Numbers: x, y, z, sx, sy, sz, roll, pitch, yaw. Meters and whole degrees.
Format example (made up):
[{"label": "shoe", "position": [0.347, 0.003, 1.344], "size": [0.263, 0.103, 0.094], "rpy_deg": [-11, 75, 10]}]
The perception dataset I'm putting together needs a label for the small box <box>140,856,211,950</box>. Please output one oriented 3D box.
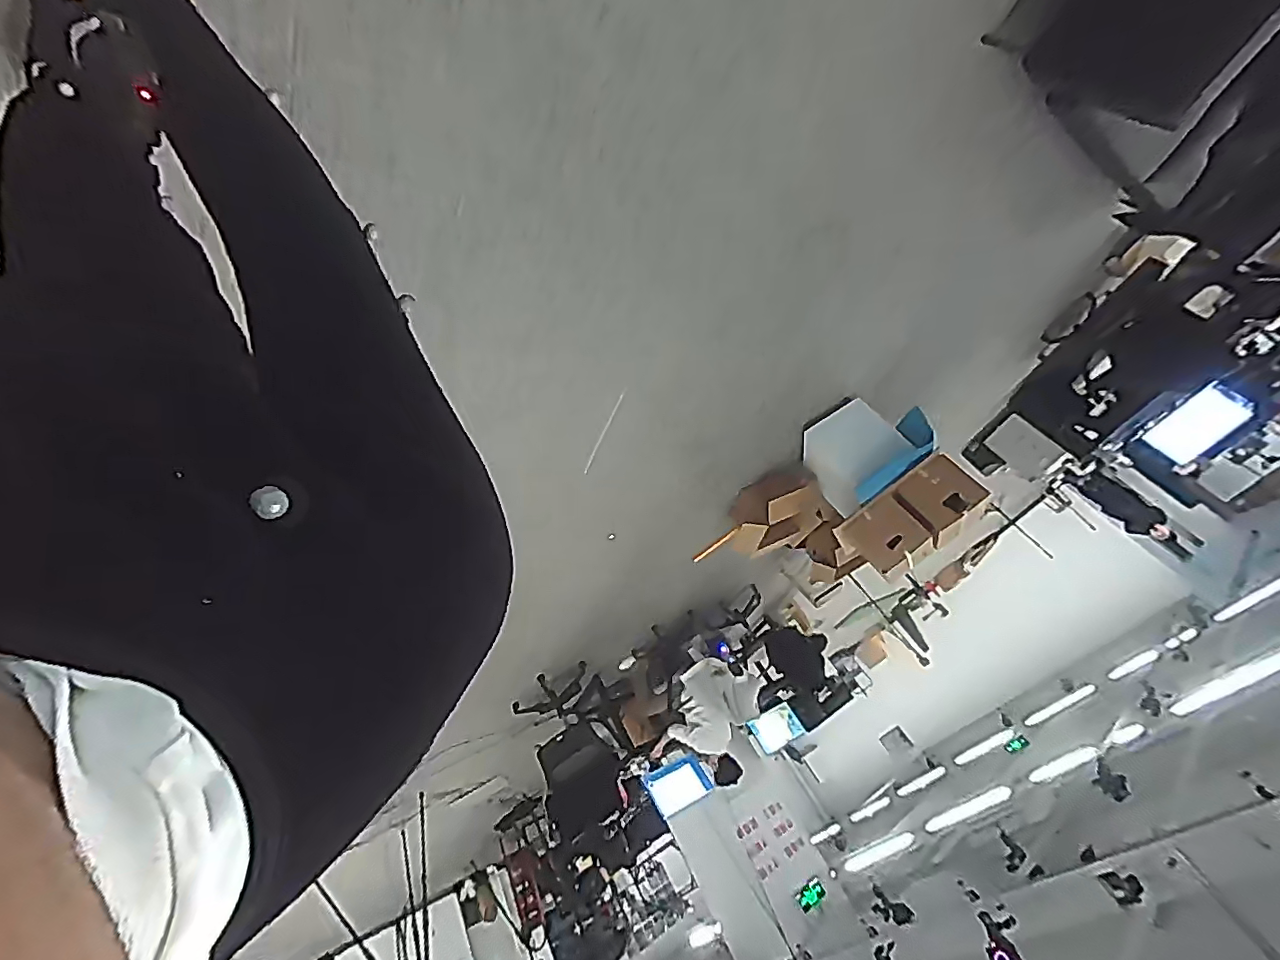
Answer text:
[{"label": "small box", "position": [-1.503, 1.362, 1.751], "size": [0.168, 0.176, 0.179], "rpy_deg": [-3, 137, -41]}]
